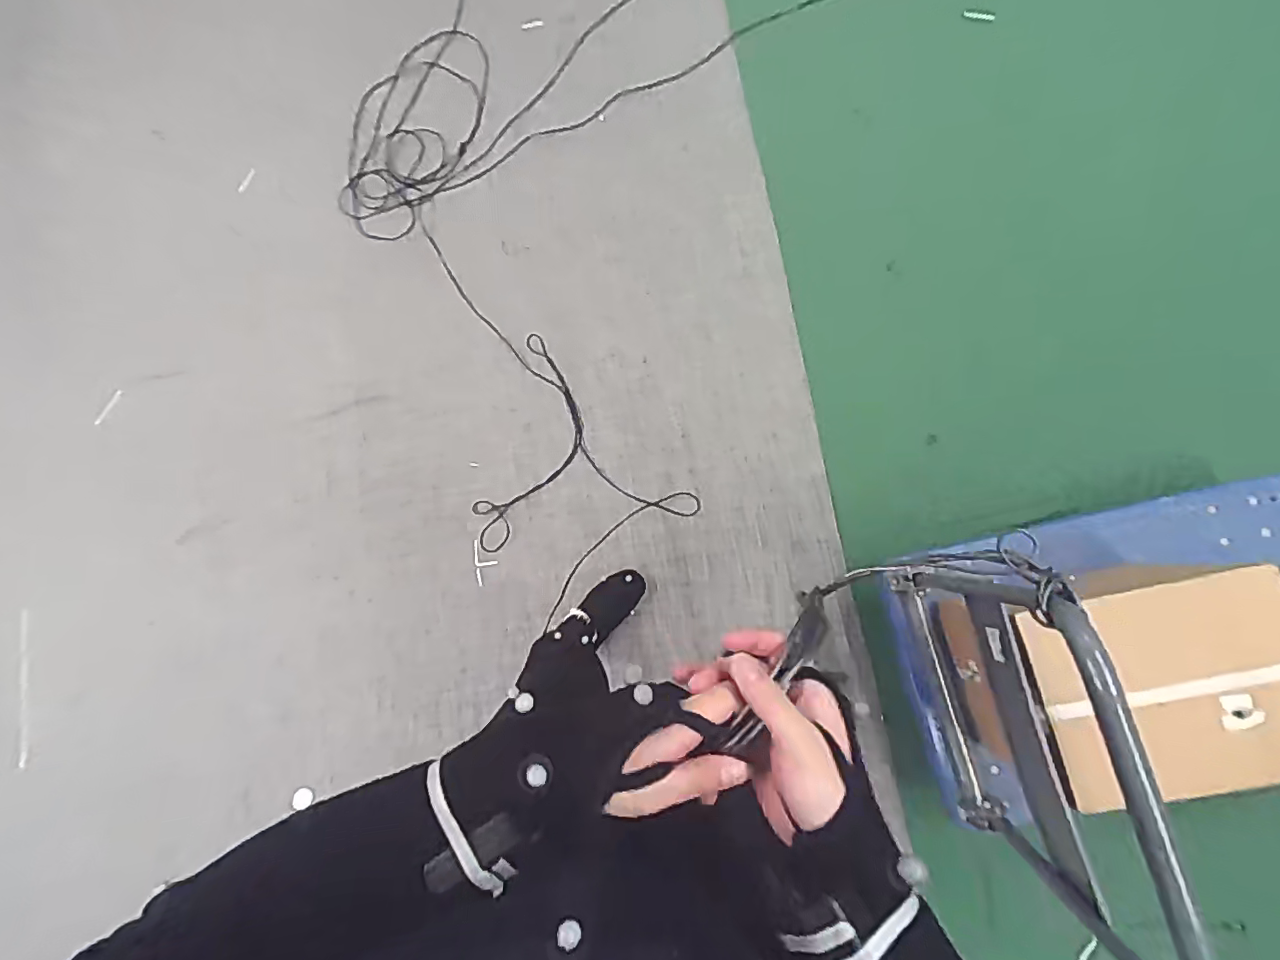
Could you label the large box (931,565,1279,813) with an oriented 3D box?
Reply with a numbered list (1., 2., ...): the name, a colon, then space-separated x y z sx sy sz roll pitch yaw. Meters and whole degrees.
1. large box: 0.842 0.353 1.001 0.408 0.320 0.320 -13 80 5
